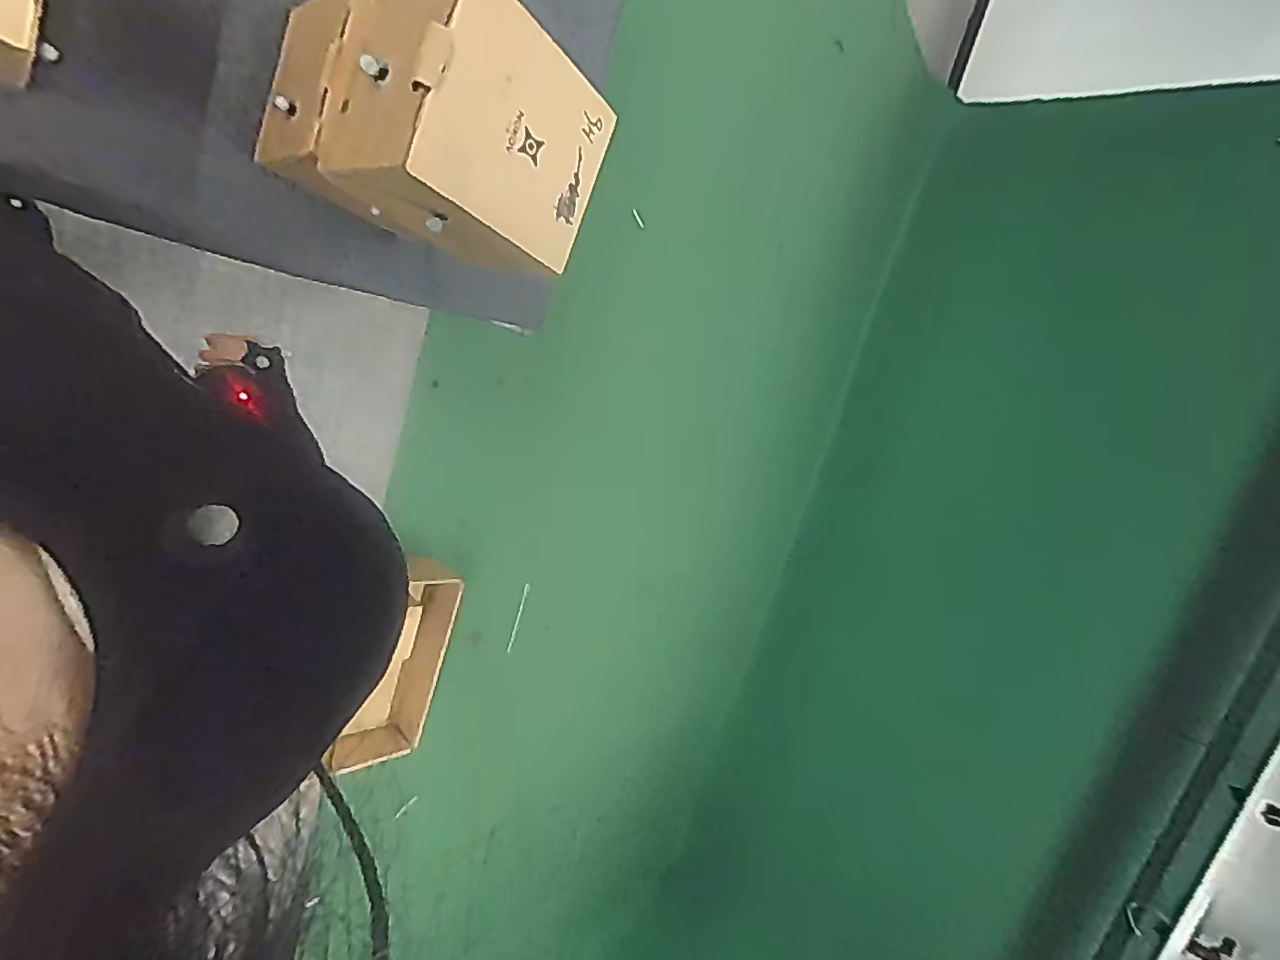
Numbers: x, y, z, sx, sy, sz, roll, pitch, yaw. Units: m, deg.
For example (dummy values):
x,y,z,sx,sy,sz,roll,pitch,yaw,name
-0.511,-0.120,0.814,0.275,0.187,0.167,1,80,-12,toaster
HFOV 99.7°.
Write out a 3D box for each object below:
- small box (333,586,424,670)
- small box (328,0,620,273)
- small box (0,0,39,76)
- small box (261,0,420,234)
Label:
x,y,z,sx,sy,sz,roll,pitch,yaw,name
-0.758,0.415,1.562,0.168,0.176,0.179,9,103,-51,small box
-0.156,-0.313,0.504,0.179,0.176,0.168,16,96,-52,small box
-0.491,-0.385,0.327,0.179,0.176,0.168,8,101,-50,small box
-0.278,-0.382,0.591,0.179,0.176,0.168,11,100,-53,small box
